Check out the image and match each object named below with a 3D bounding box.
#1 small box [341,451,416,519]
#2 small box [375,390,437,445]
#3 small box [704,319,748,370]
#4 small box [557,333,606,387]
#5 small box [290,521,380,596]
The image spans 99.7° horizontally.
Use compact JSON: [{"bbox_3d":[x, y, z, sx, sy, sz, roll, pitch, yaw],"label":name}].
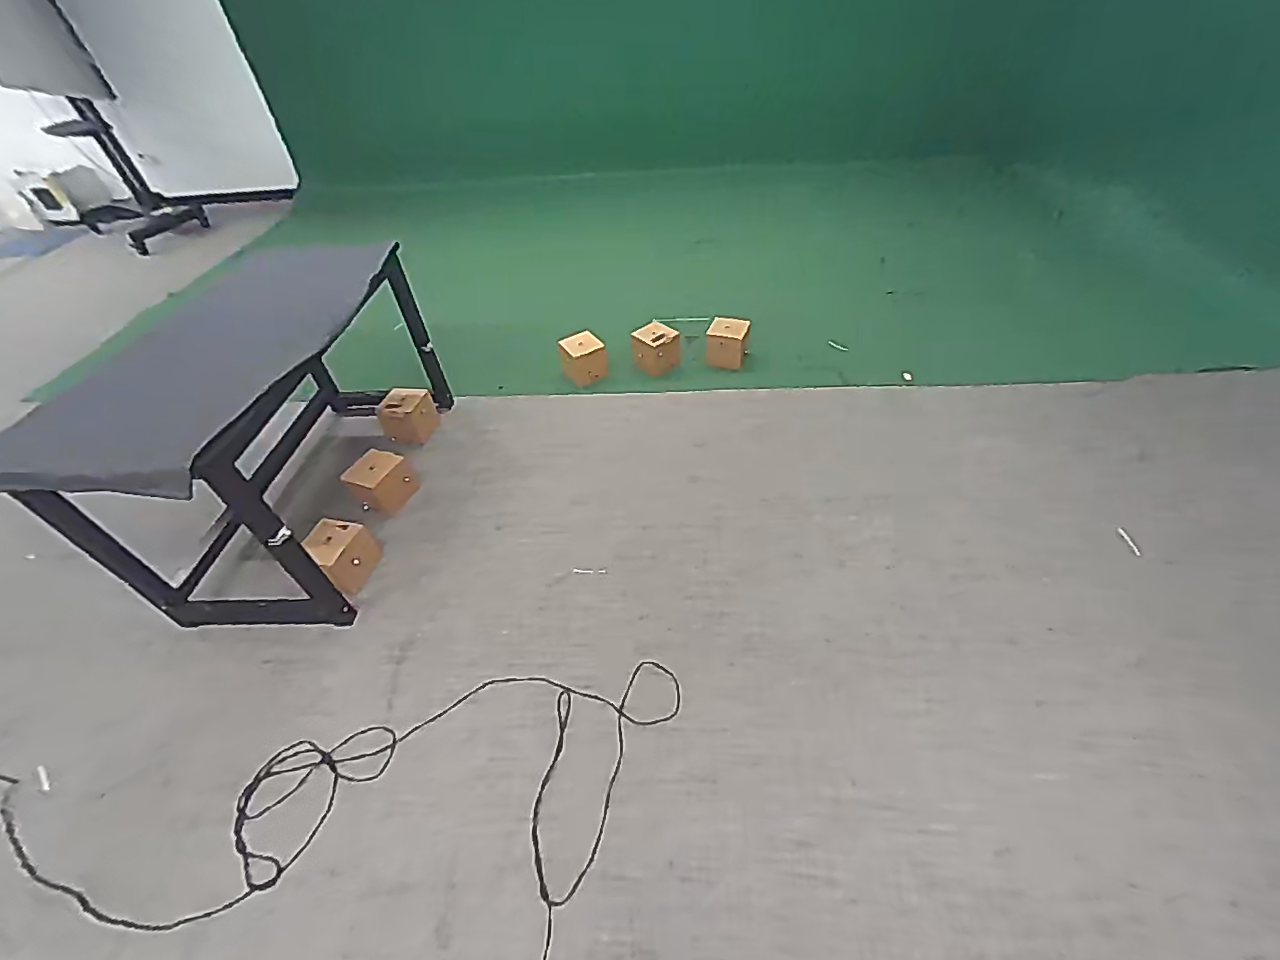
[{"bbox_3d":[-0.982,0.019,2.054,0.168,0.176,0.179,13,49,19],"label":"small box"},{"bbox_3d":[-1.004,-0.269,2.341,0.168,0.176,0.179,3,45,8],"label":"small box"},{"bbox_3d":[0.409,-0.647,2.588,0.179,0.176,0.168,14,49,17],"label":"small box"},{"bbox_3d":[-0.277,-0.570,2.577,0.168,0.176,0.179,-27,50,-21],"label":"small box"},{"bbox_3d":[-1.010,0.266,1.813,0.168,0.176,0.179,8,47,12],"label":"small box"}]
